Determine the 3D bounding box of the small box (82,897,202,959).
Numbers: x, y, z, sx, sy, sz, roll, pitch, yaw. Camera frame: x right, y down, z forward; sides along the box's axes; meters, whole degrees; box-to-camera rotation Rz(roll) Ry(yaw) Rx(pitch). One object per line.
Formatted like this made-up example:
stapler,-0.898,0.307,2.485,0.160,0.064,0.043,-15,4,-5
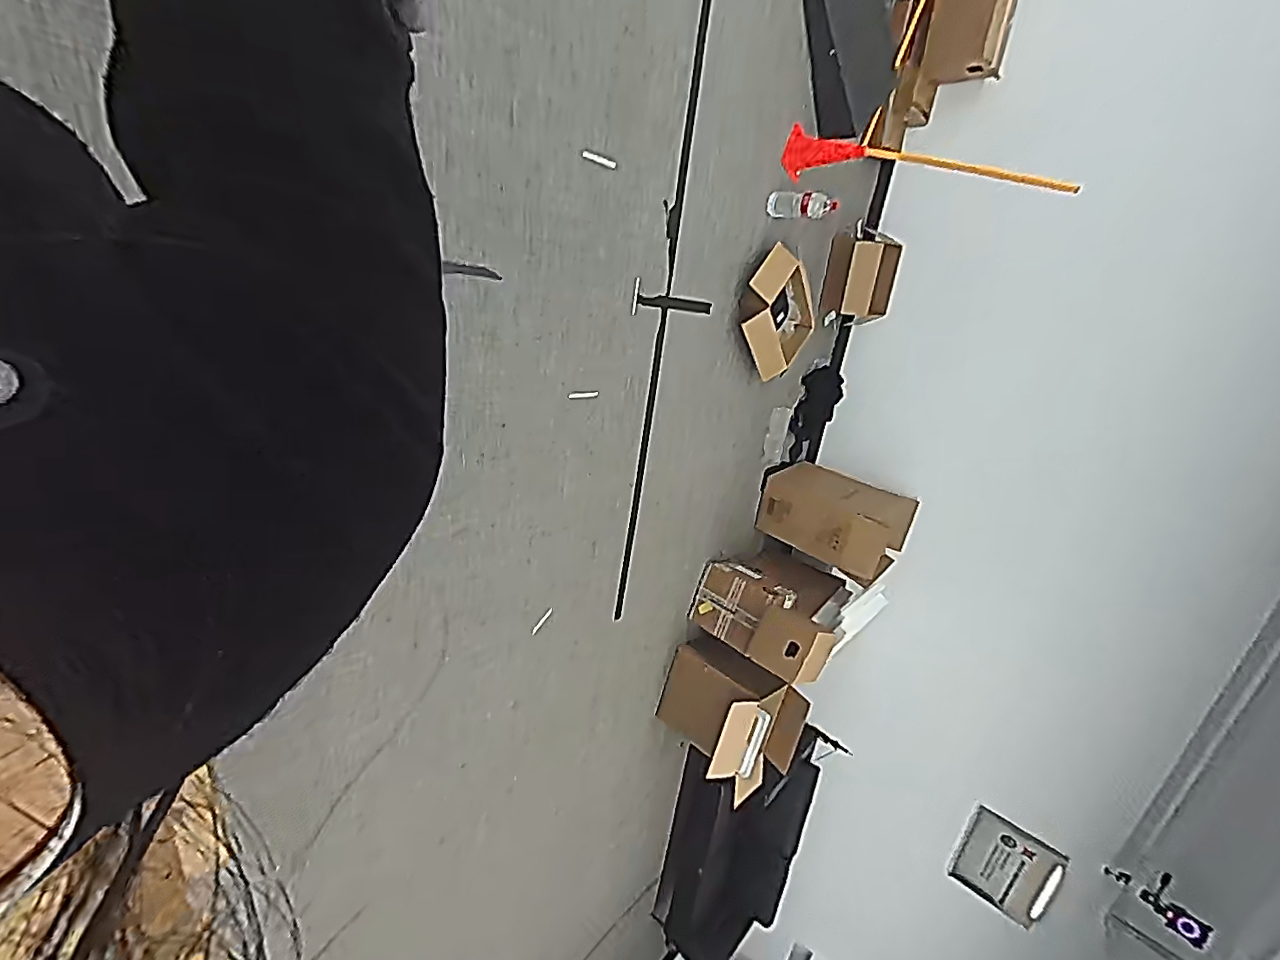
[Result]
small box,-1.028,1.038,1.128,0.168,0.176,0.179,-14,119,-47

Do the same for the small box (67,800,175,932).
small box,-1.269,0.927,1.324,0.168,0.176,0.179,-11,118,-47
